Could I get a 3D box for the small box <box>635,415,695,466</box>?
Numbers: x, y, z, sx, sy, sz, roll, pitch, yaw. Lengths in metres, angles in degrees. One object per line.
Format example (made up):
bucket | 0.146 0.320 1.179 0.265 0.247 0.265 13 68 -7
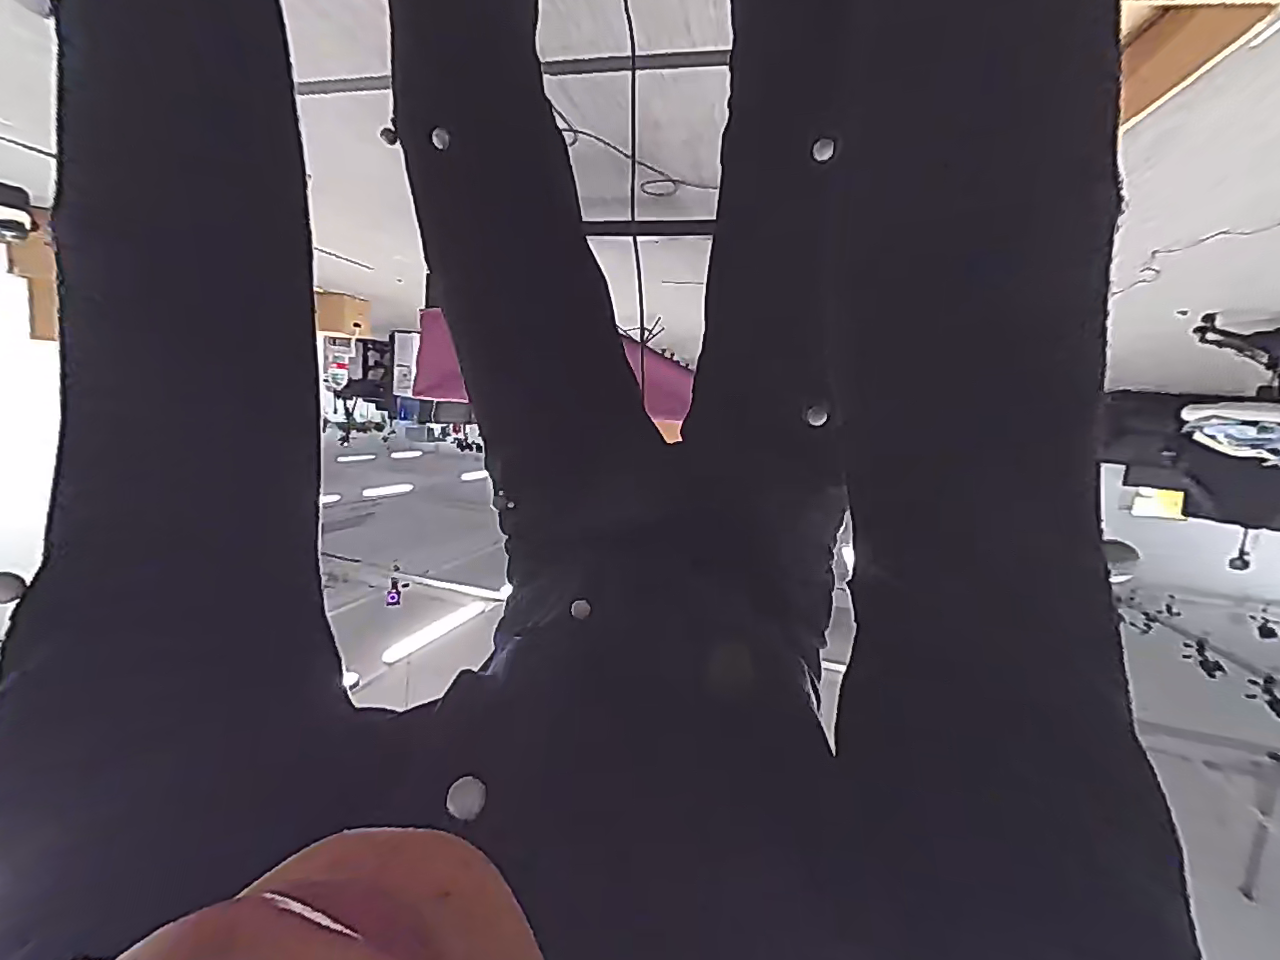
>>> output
small box | 0.093 -0.148 1.986 0.168 0.176 0.179 9 -171 23
